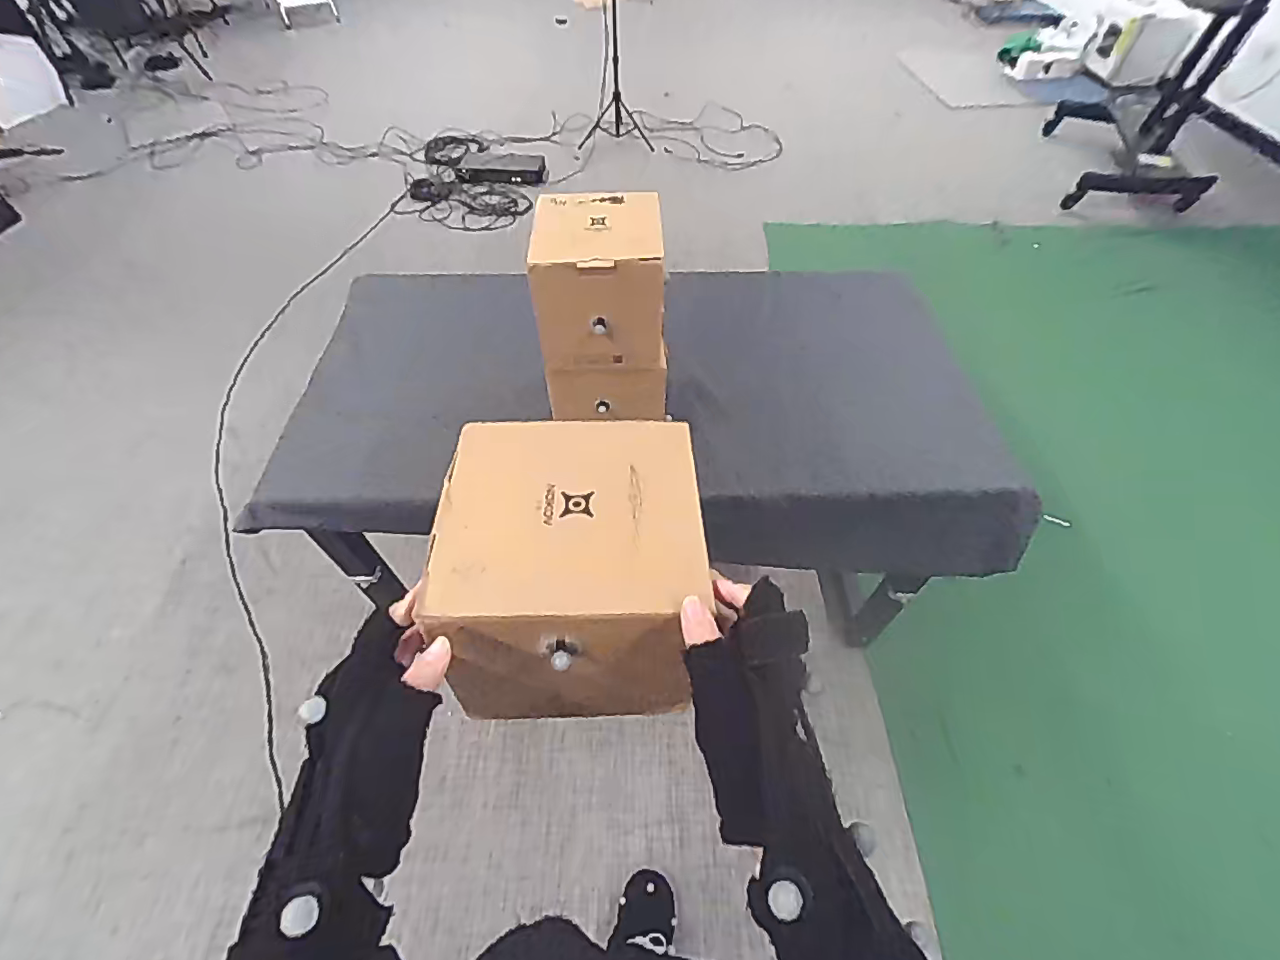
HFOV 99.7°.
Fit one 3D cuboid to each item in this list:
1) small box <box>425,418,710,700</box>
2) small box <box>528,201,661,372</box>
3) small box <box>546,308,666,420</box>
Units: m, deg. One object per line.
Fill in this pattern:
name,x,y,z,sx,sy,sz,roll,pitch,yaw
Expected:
small box,-0.048,0.067,0.437,0.179,0.176,0.168,0,48,-4
small box,-0.054,-0.267,0.763,0.168,0.176,0.179,-1,53,-1
small box,-0.050,-0.167,0.893,0.179,0.176,0.168,0,52,0
